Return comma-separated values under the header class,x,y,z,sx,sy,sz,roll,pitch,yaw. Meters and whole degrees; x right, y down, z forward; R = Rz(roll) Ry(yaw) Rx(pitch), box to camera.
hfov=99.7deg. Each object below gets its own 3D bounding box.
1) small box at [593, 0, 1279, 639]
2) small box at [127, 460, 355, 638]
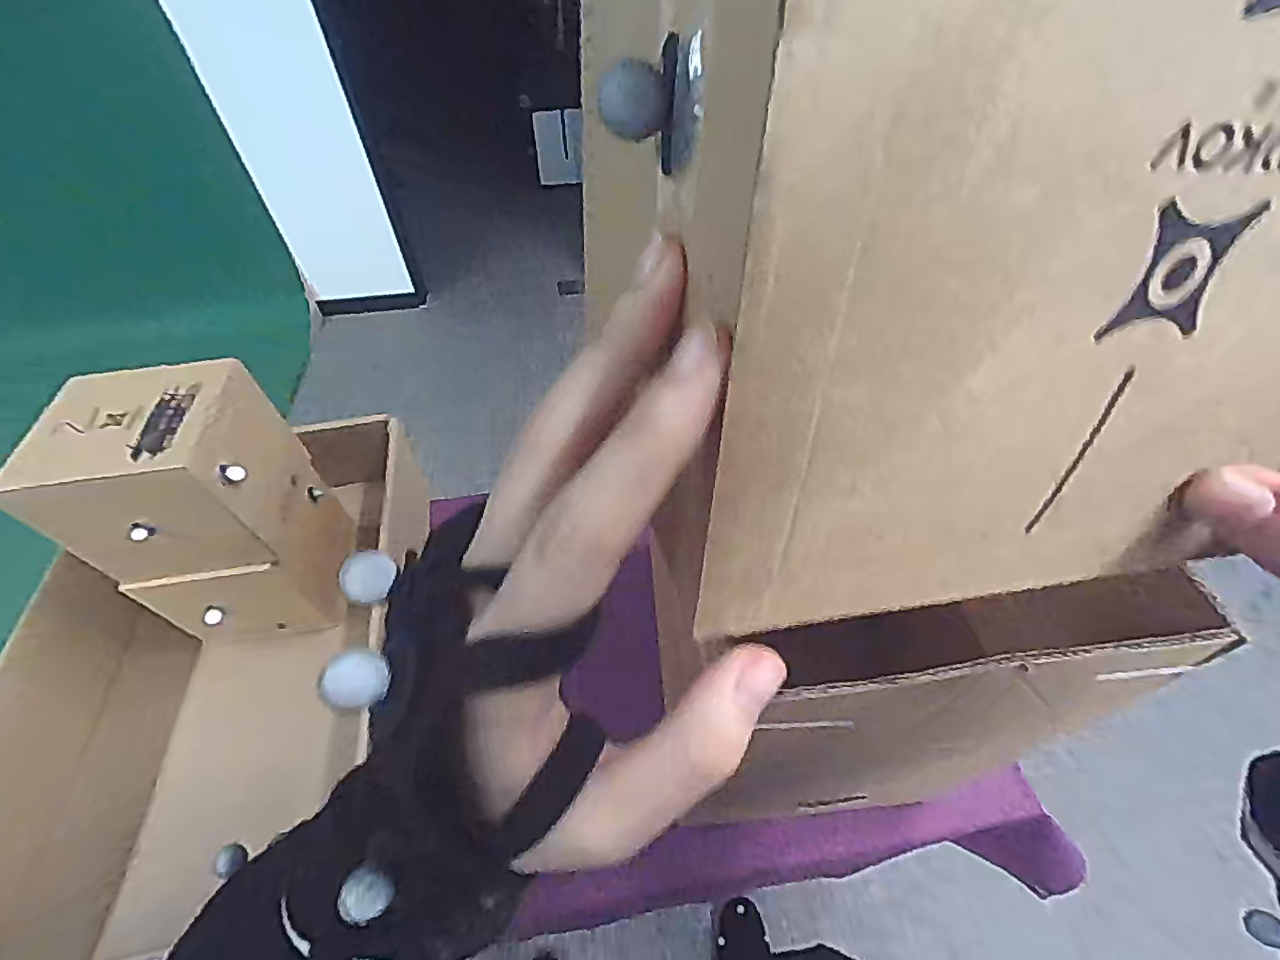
class,x,y,z,sx,sy,sz,roll,pitch,yaw
small box,0.079,-0.086,0.159,0.168,0.179,0.176,-5,35,-11
small box,-0.514,0.100,0.732,0.168,0.176,0.179,-8,51,-4
